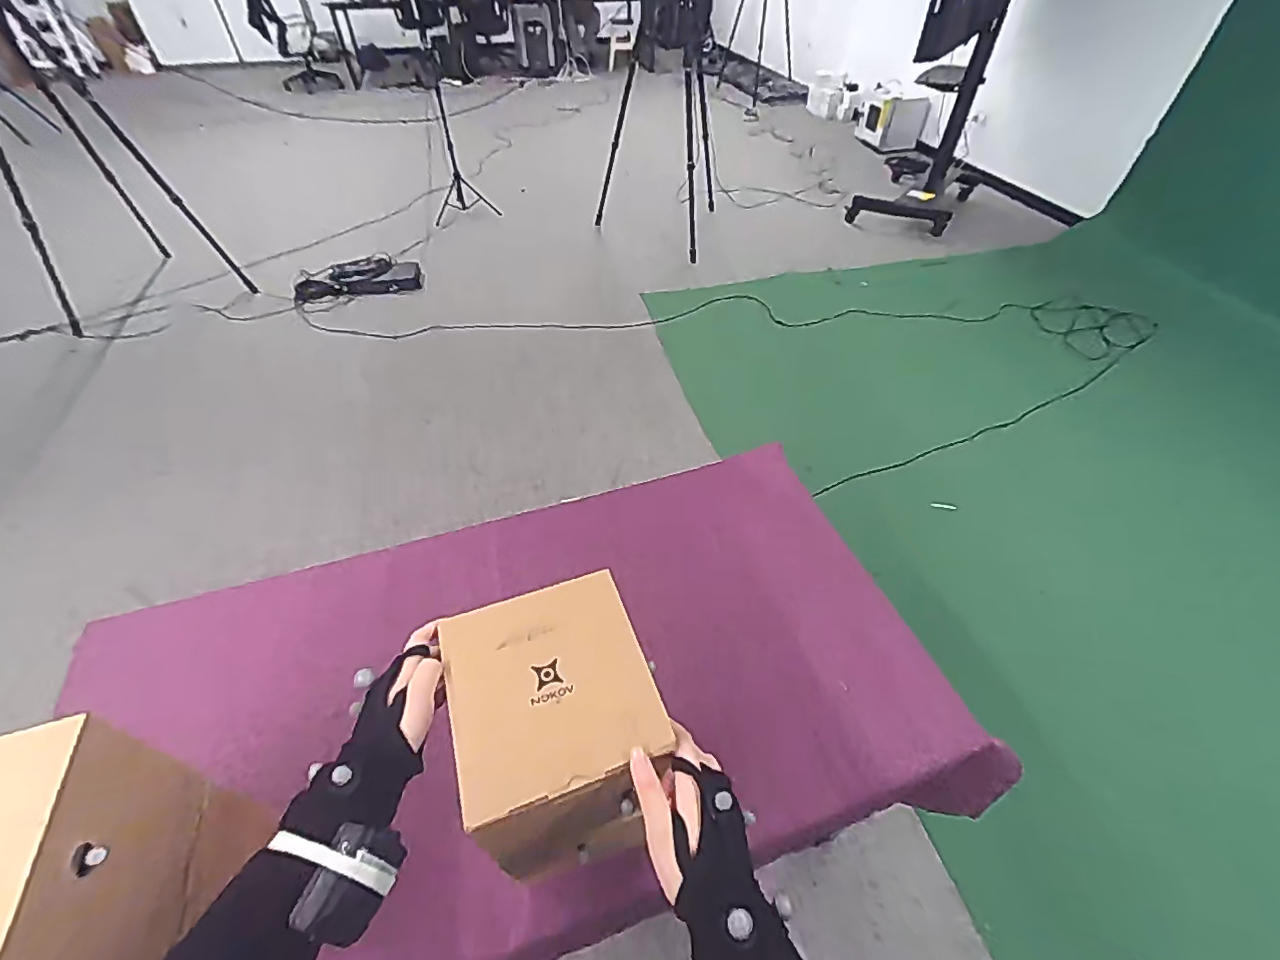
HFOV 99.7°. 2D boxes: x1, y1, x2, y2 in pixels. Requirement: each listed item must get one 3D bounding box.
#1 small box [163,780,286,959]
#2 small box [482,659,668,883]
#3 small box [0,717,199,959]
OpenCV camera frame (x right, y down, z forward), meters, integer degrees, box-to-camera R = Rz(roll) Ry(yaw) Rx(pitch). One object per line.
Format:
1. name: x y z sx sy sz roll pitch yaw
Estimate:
1. small box: -0.494 0.437 0.539 0.179 0.176 0.168 -13 48 -14
2. small box: -0.074 0.341 0.631 0.179 0.176 0.168 -12 49 -12
3. small box: -0.492 0.322 0.421 0.168 0.176 0.179 -13 47 -14
